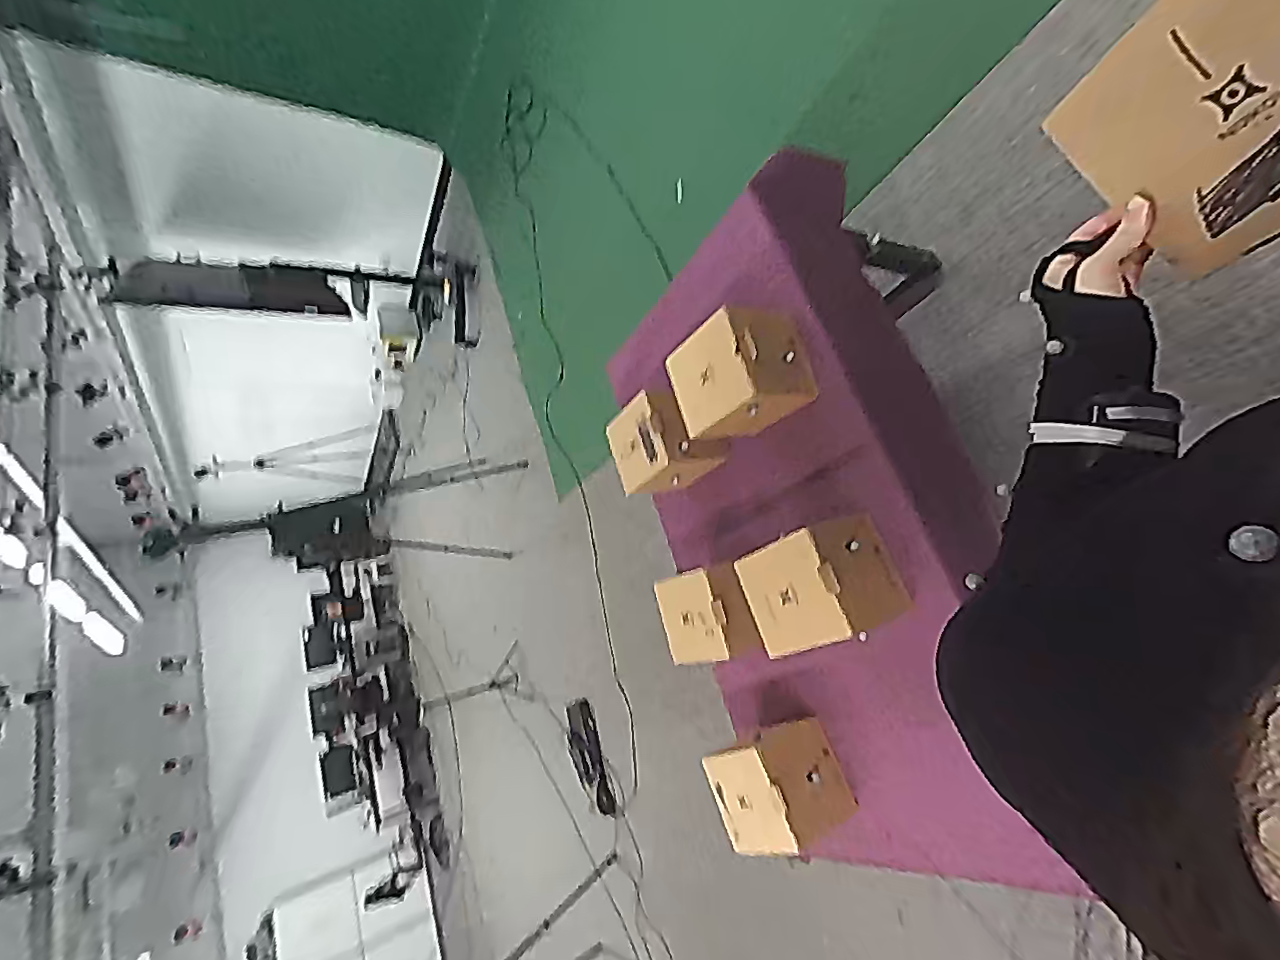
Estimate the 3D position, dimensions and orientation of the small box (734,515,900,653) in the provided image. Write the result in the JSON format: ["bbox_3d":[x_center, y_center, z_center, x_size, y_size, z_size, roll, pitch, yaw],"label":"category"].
[{"bbox_3d":[0.294,0.168,0.891,0.179,0.176,0.168,-42,61,50],"label":"small box"}]

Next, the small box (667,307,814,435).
[{"bbox_3d":[0.182,-0.190,0.993,0.179,0.176,0.168,-34,68,51],"label":"small box"}]

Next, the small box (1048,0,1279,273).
[{"bbox_3d":[0.460,-0.292,0.380,0.179,0.176,0.168,54,161,8],"label":"small box"}]

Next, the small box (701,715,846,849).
[{"bbox_3d":[0.252,0.557,1.006,0.179,0.176,0.168,-45,58,46],"label":"small box"}]

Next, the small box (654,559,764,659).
[{"bbox_3d":[0.159,0.256,1.091,0.179,0.176,0.168,-31,71,52],"label":"small box"}]
